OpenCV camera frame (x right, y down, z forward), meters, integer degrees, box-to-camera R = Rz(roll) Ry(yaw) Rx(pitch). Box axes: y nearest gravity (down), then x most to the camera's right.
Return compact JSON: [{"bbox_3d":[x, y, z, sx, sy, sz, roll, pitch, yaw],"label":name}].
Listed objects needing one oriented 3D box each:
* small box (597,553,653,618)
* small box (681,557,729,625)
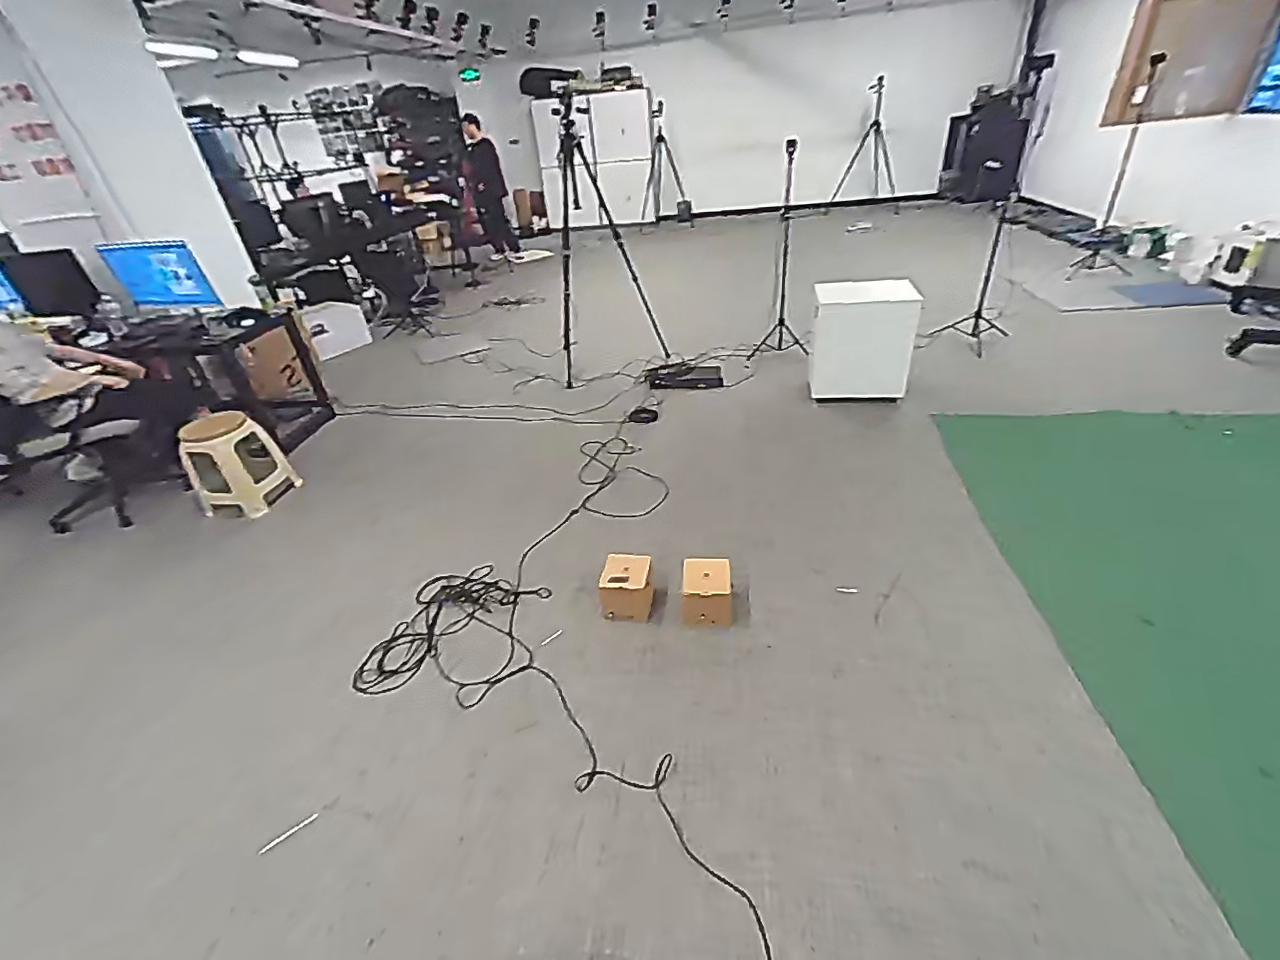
[{"bbox_3d":[-0.050,0.393,2.010,0.168,0.176,0.179,2,34,12],"label":"small box"},{"bbox_3d":[0.236,0.400,1.955,0.168,0.176,0.179,-1,35,8],"label":"small box"}]
